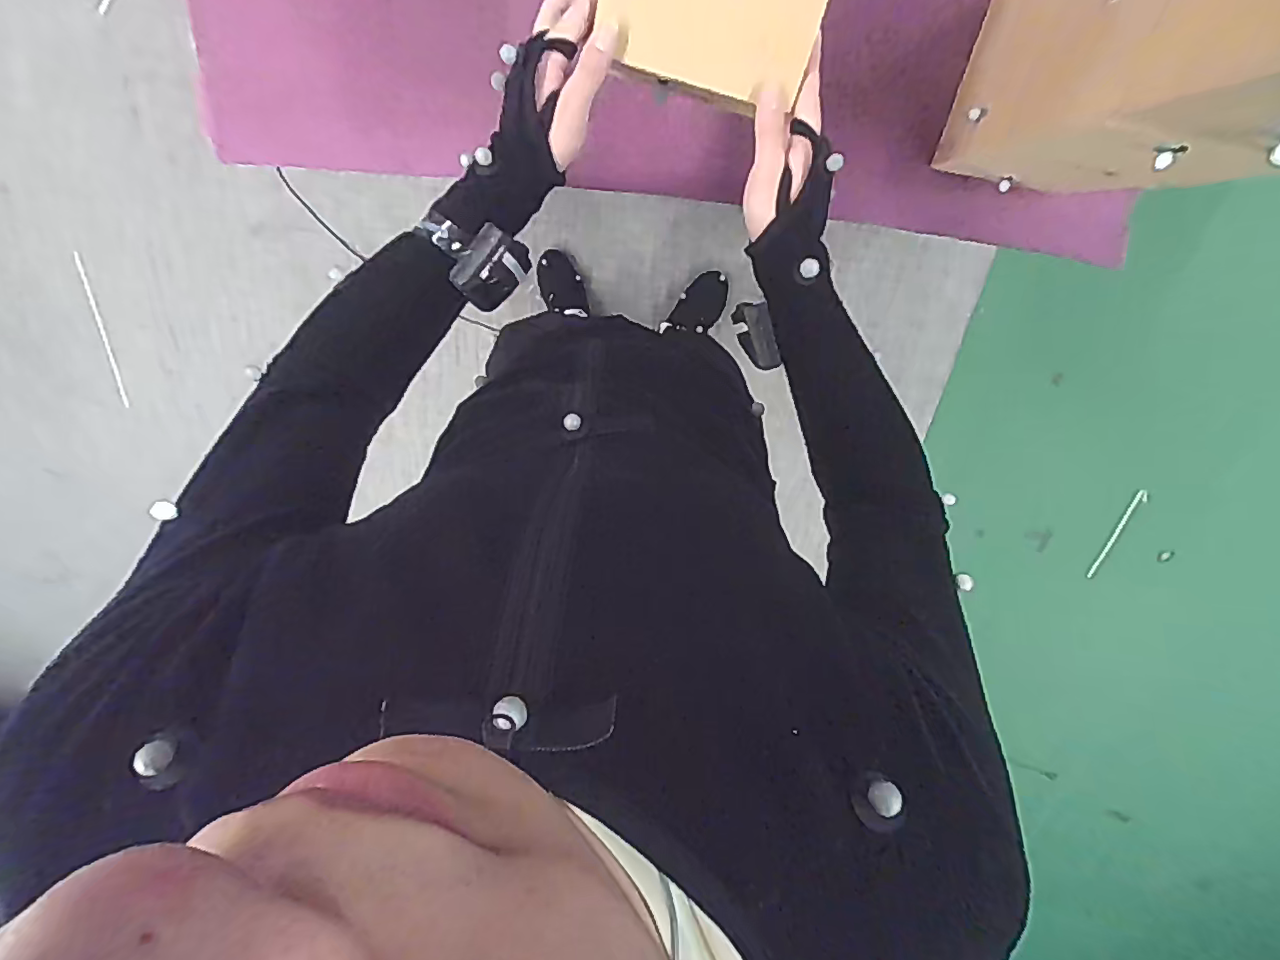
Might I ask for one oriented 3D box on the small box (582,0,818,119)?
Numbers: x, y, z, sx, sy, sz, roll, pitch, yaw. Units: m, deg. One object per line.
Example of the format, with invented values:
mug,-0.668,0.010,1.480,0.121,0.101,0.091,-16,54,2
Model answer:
small box,0.057,-0.419,0.445,0.168,0.176,0.179,13,121,-6
